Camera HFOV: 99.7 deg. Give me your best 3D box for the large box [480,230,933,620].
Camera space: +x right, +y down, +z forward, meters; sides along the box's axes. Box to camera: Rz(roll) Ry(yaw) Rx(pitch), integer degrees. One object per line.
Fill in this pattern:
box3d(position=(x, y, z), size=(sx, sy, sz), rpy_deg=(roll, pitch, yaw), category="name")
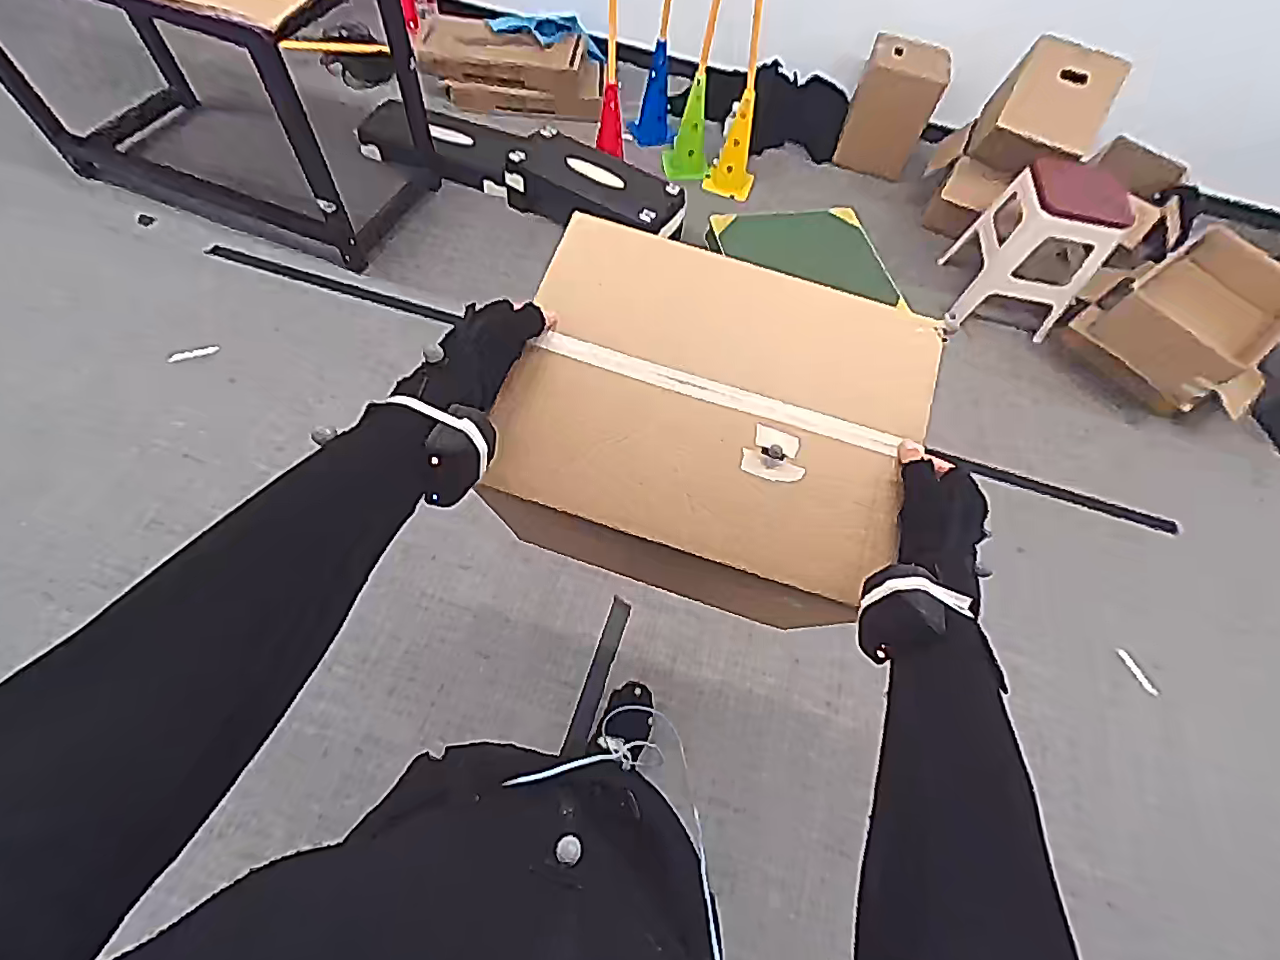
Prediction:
box3d(position=(0.072, -0.038, 0.682), size=(0.408, 0.320, 0.320), rpy_deg=(18, 74, 3), category="large box")
